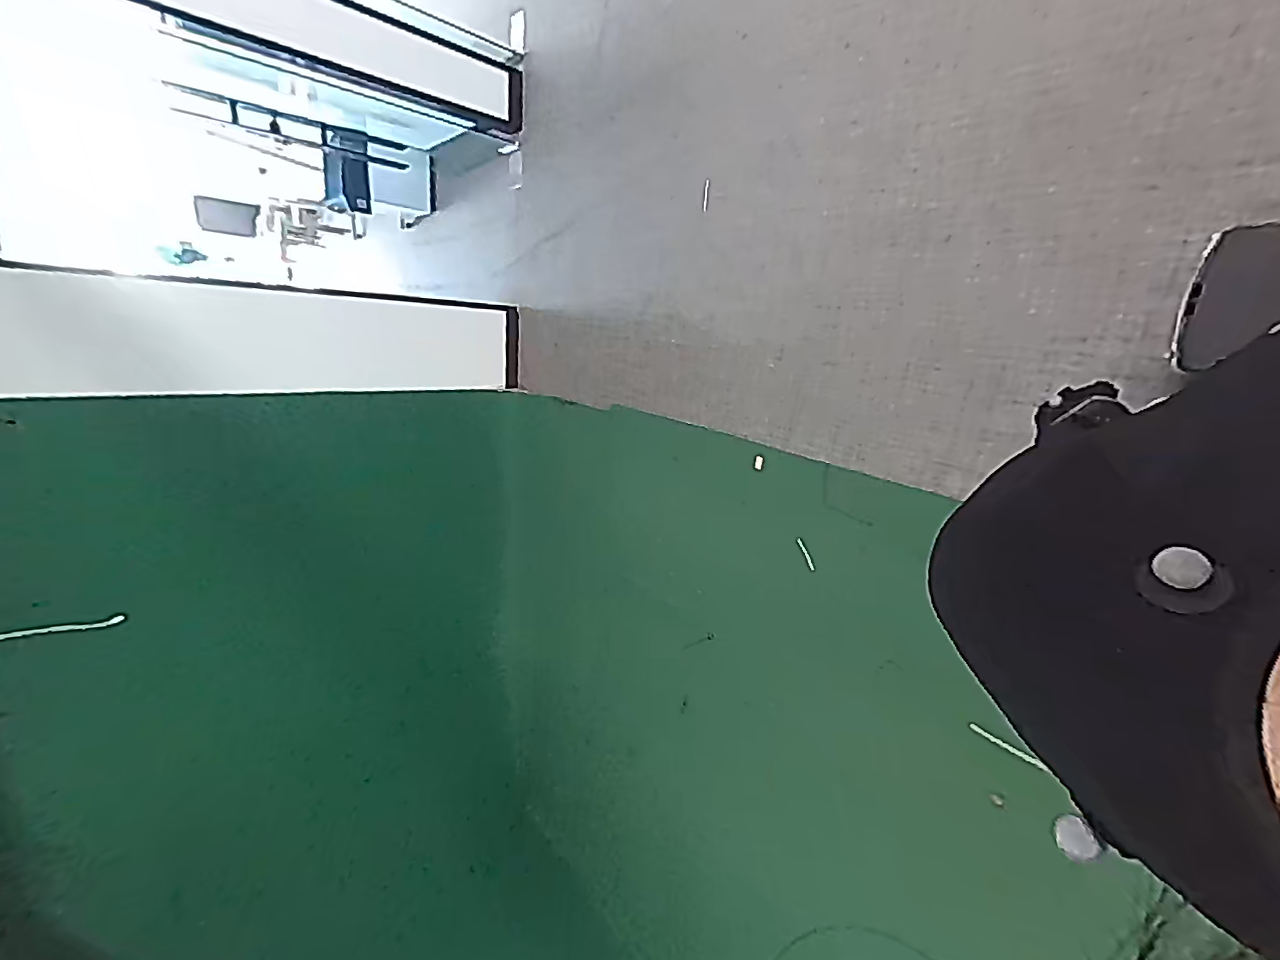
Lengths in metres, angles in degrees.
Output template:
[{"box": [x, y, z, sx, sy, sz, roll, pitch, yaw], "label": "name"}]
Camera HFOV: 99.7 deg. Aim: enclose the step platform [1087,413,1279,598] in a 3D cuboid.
[{"box": [1.121, 0.092, 0.798, 0.684, 0.204, 0.286, 21, 112, 44], "label": "step platform"}]
